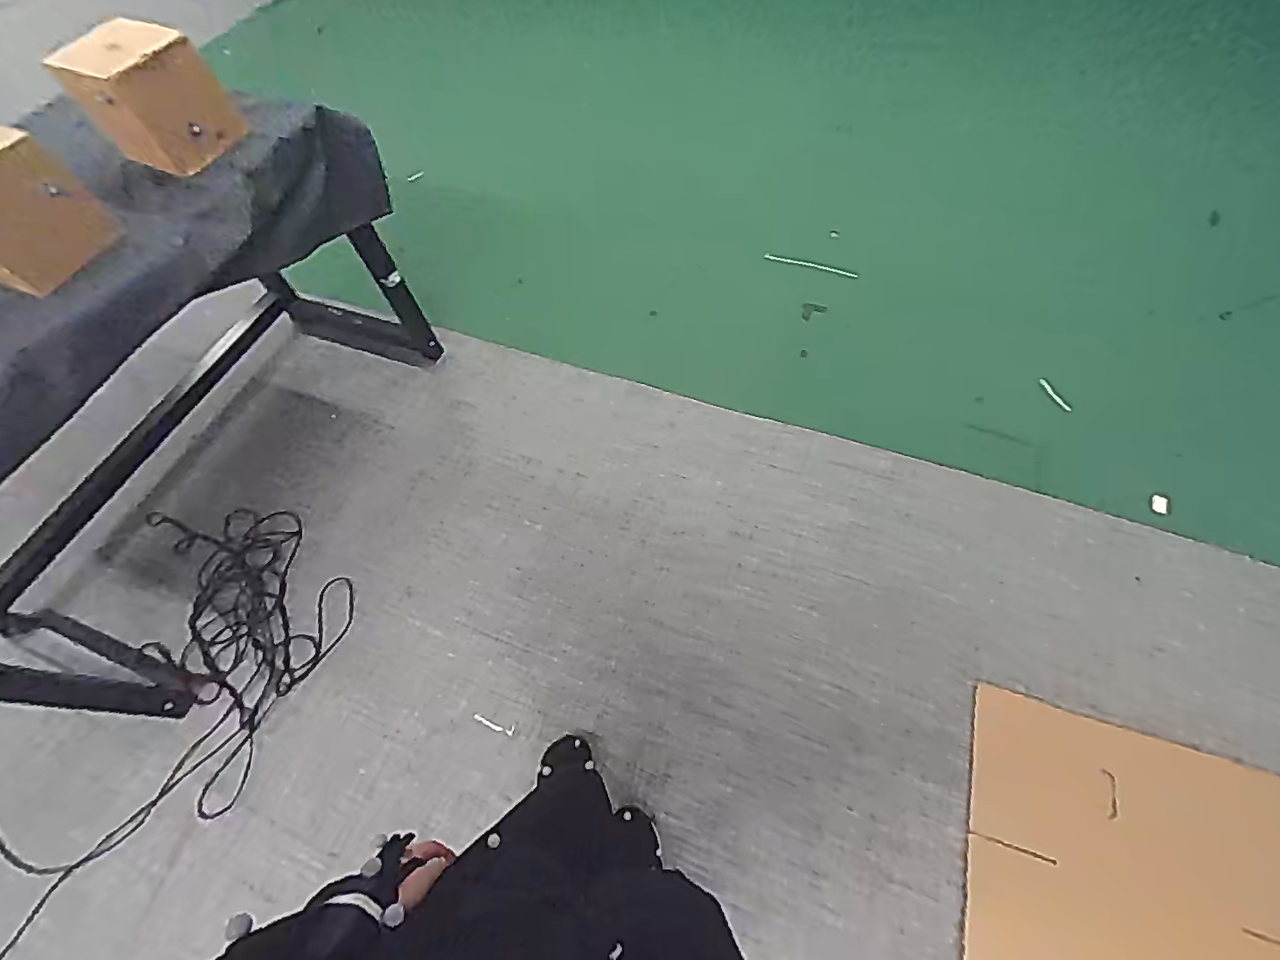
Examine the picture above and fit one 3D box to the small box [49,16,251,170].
[{"bbox_3d":[-0.878,-0.701,0.987,0.179,0.176,0.168,22,66,15],"label":"small box"}]
